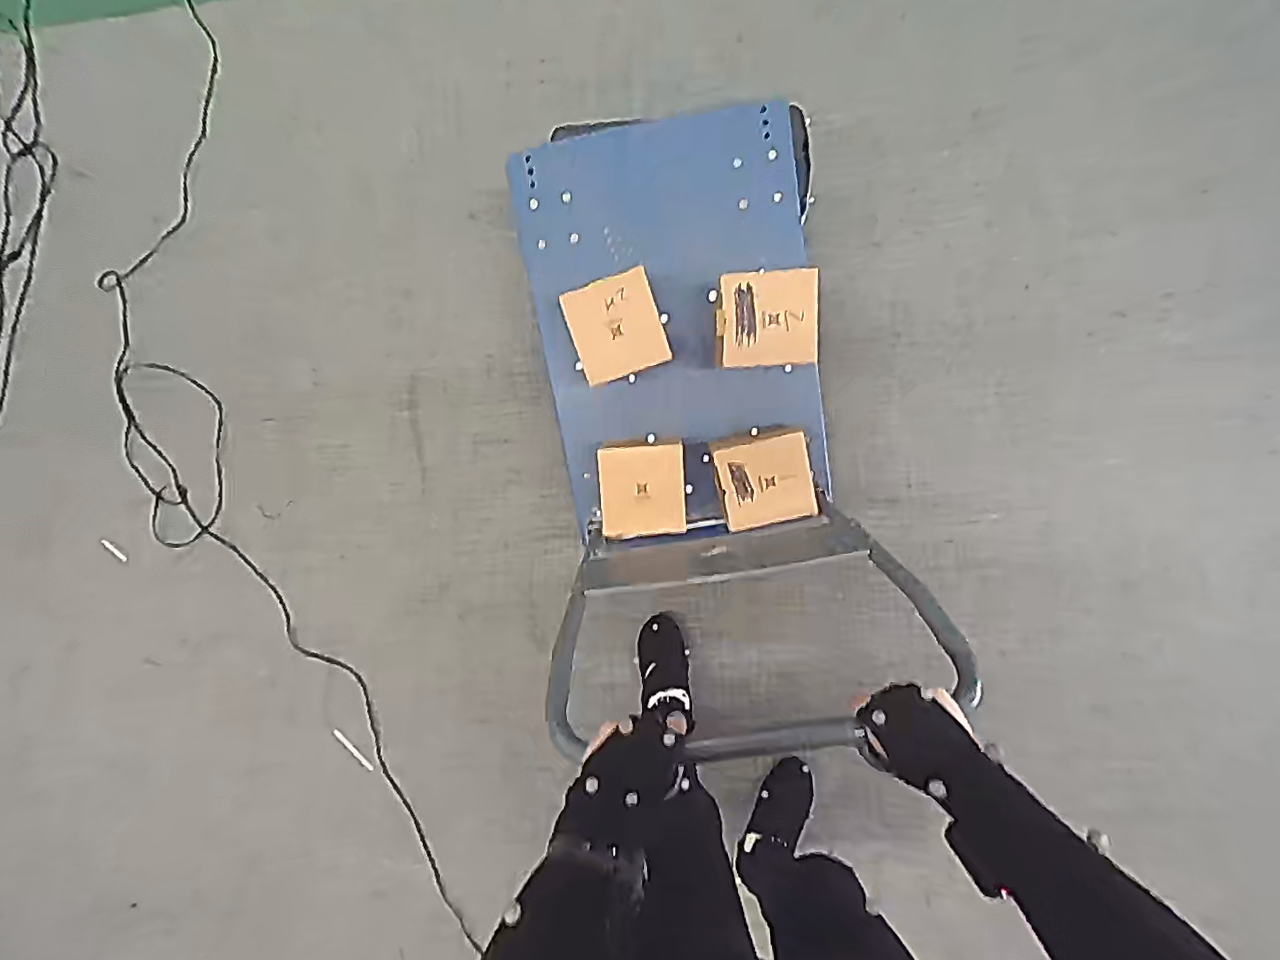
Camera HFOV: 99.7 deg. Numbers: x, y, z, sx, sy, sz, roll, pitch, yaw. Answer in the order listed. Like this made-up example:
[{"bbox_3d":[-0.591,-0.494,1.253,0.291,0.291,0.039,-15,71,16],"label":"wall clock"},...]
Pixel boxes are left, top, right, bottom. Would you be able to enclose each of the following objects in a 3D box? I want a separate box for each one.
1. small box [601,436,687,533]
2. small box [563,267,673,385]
[{"bbox_3d":[0.010,0.002,1.129,0.168,0.176,0.179,-3,101,2],"label":"small box"},{"bbox_3d":[-0.037,-0.298,1.074,0.168,0.176,0.179,-18,99,5],"label":"small box"}]
